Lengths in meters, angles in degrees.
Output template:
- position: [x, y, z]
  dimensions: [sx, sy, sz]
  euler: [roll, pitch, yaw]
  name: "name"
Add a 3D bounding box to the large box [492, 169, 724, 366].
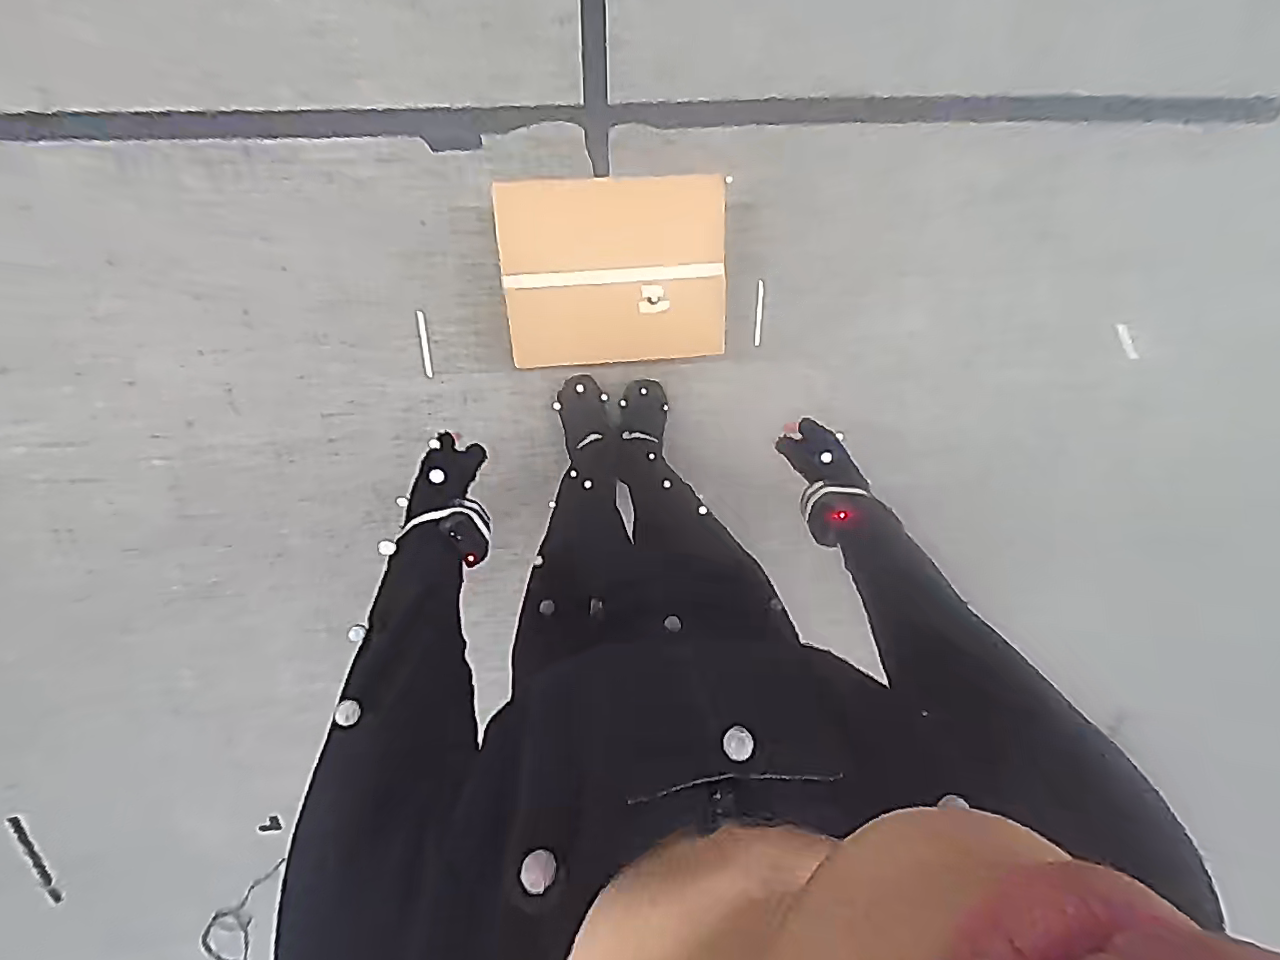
- position: [-0.062, -0.430, 1.114]
  dimensions: [0.408, 0.320, 0.320]
  euler: [-6, 112, -5]
  name: "large box"
